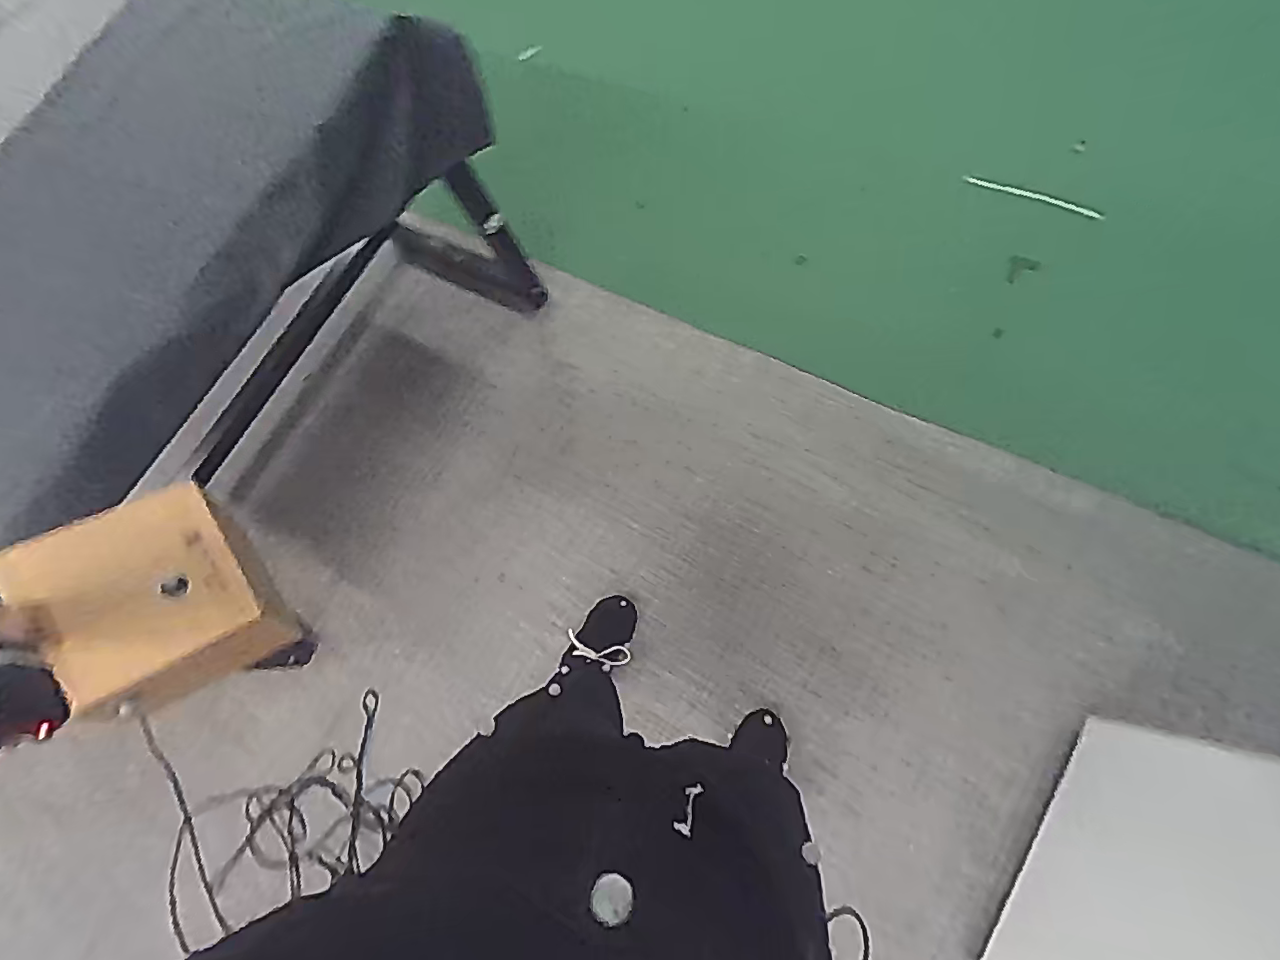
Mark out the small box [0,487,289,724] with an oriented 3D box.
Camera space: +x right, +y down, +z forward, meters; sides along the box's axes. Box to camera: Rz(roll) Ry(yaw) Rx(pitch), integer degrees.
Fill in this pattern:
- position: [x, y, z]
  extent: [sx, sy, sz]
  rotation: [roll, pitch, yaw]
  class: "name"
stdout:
- position: [-0.510, 0.134, 0.580]
  extent: [0.176, 0.179, 0.168]
  rotation: [-30, 82, -29]
  class: "small box"
